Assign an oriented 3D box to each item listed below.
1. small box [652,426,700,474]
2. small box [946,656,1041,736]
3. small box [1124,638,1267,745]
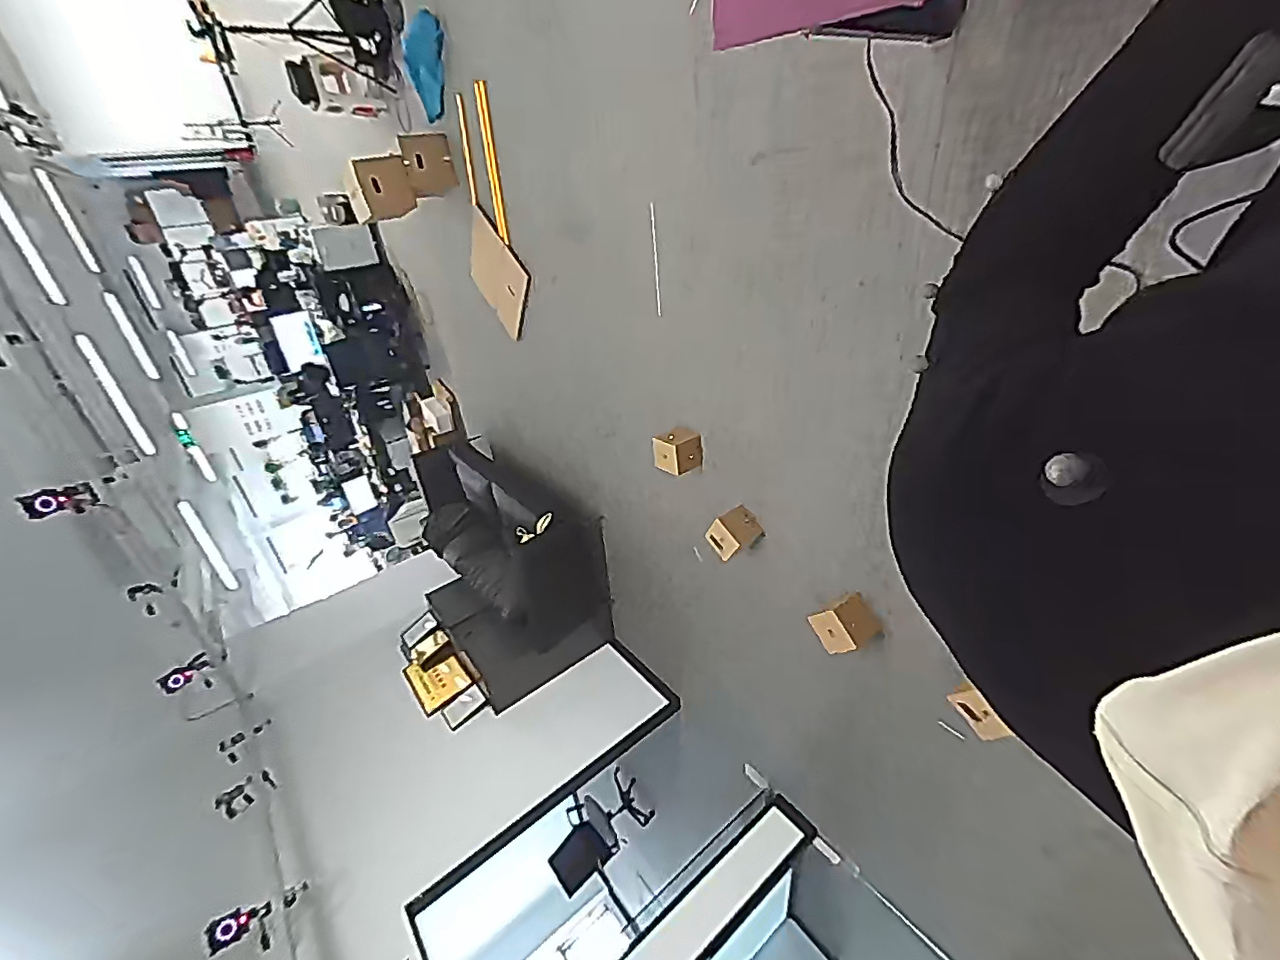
[{"bbox_3d":[0.185,-0.156,2.692,0.179,0.176,0.168,26,132,47],"label":"small box"},{"bbox_3d":[1.176,0.716,1.796,0.168,0.176,0.179,53,147,18],"label":"small box"},{"bbox_3d":[1.380,0.525,1.343,0.179,0.176,0.168,56,149,16],"label":"small box"}]
